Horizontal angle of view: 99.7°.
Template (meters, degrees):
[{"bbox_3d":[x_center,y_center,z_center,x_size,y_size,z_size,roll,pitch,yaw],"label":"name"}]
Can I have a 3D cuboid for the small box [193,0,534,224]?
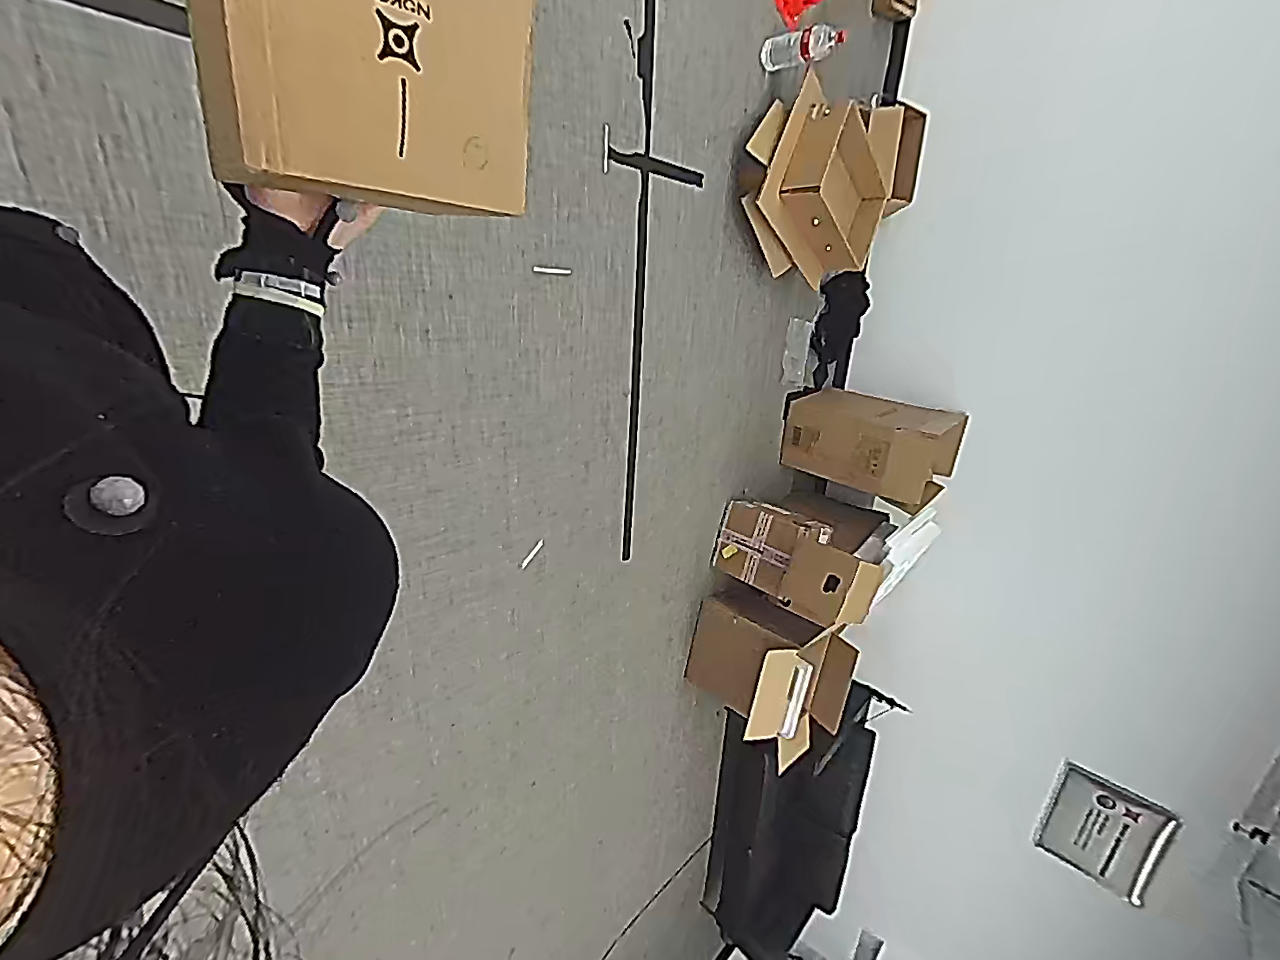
[{"bbox_3d":[-0.189,-0.283,0.367,0.168,0.176,0.179,-11,118,-40],"label":"small box"}]
